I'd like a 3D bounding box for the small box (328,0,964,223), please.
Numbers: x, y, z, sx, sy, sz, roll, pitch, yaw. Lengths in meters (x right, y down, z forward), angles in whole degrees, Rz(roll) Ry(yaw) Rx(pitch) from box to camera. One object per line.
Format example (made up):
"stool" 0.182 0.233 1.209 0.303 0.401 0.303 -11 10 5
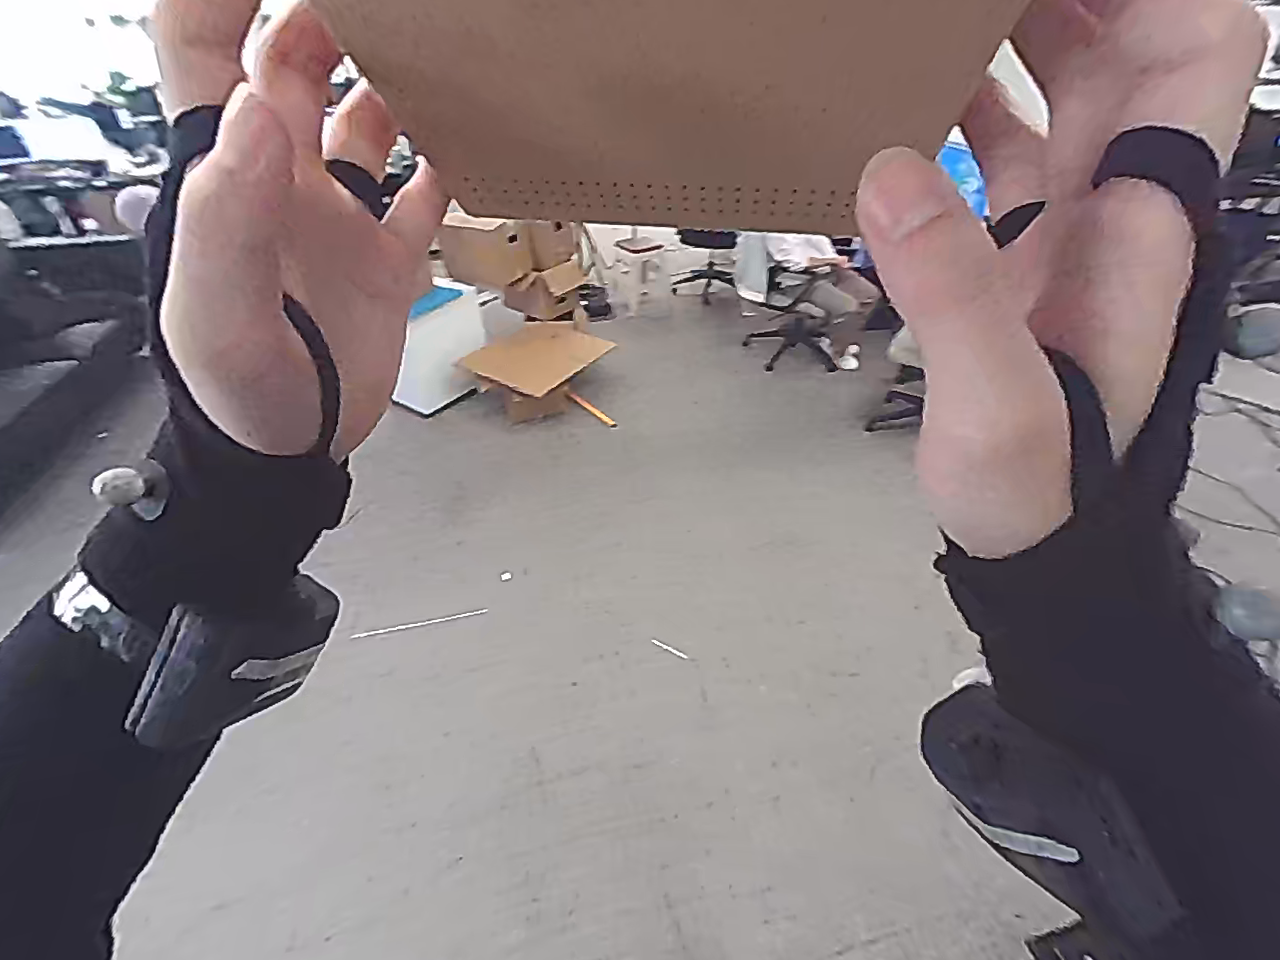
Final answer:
"small box" 0.005 -0.195 0.148 0.179 0.176 0.168 7 84 7
